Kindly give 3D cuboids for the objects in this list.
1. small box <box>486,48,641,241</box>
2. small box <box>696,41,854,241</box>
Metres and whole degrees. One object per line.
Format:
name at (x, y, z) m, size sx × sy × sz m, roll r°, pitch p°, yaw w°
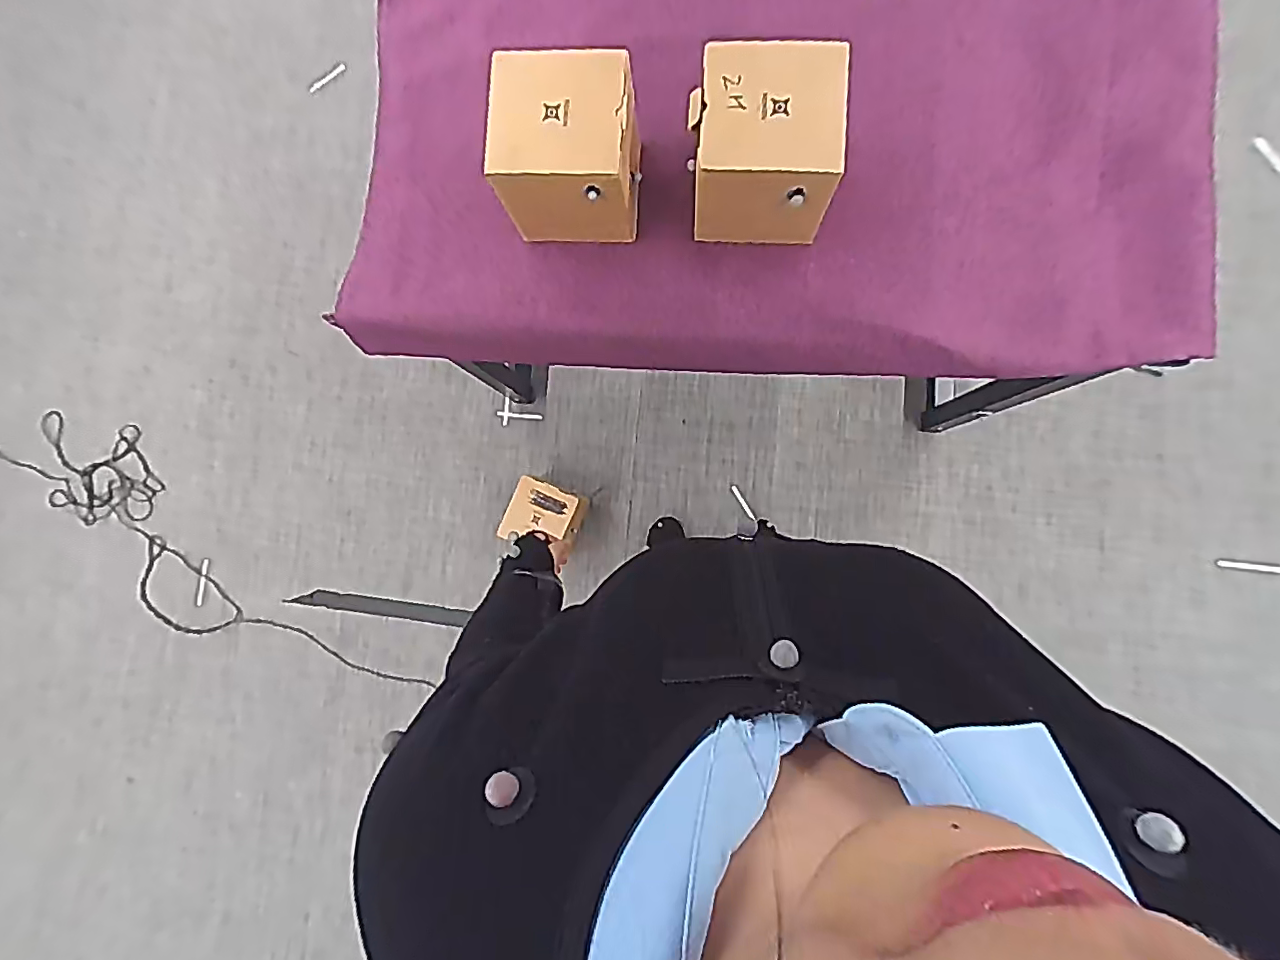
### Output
small box at (-0.095, -0.453, 0.753) m, size 0.179 × 0.176 × 0.168 m, roll 2°, pitch 86°, yaw 5°
small box at (0.170, -0.441, 0.727) m, size 0.179 × 0.176 × 0.168 m, roll 4°, pitch 86°, yaw 6°
